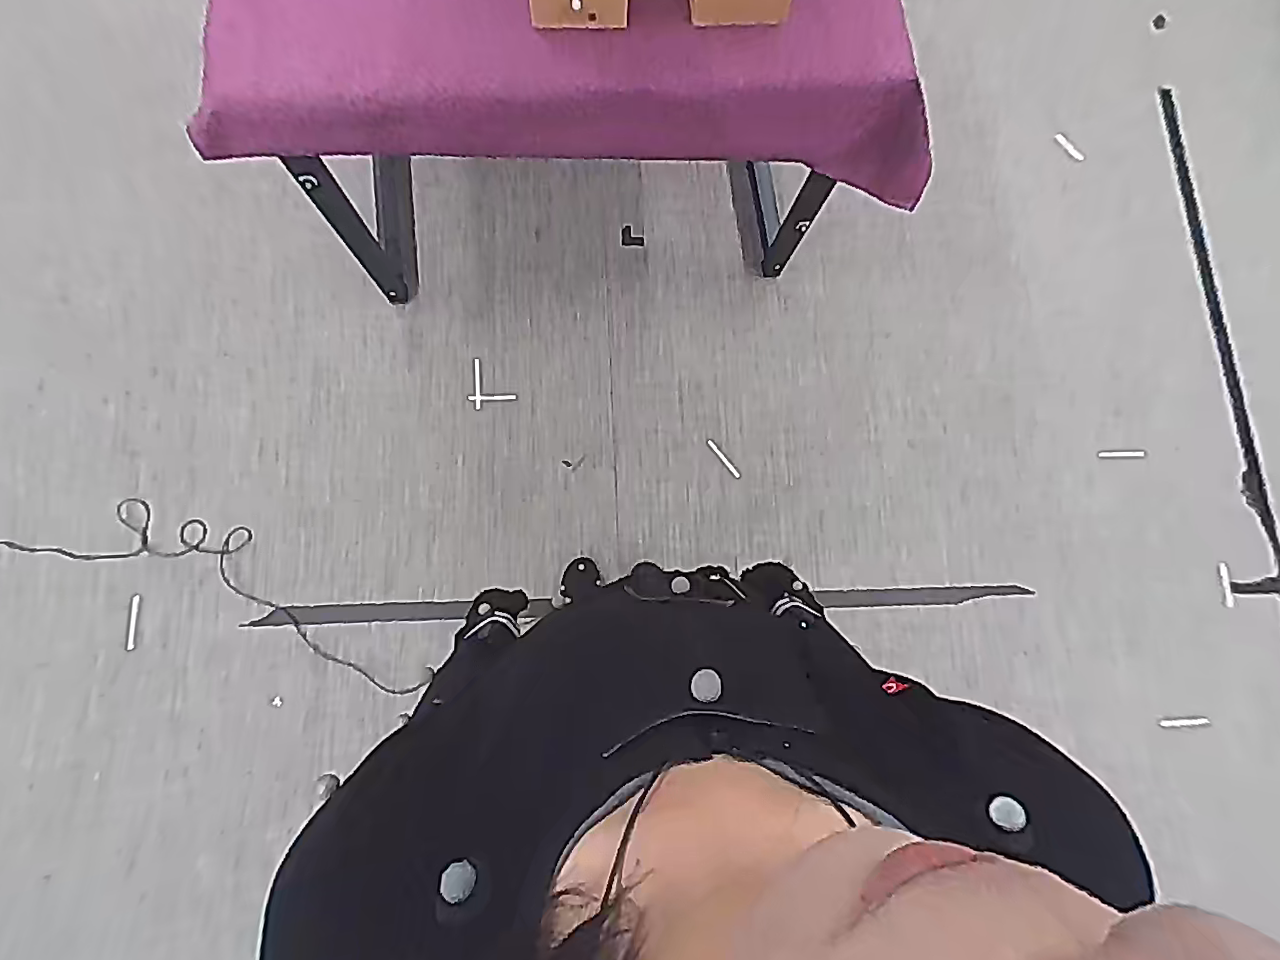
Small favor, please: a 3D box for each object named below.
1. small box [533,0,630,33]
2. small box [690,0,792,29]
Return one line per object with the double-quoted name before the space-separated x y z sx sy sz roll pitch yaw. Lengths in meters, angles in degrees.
"small box" -0.103 -0.887 0.884 0.168 0.176 0.179 -5 81 -5
"small box" 0.179 -0.910 0.912 0.179 0.176 0.168 -7 79 -4
